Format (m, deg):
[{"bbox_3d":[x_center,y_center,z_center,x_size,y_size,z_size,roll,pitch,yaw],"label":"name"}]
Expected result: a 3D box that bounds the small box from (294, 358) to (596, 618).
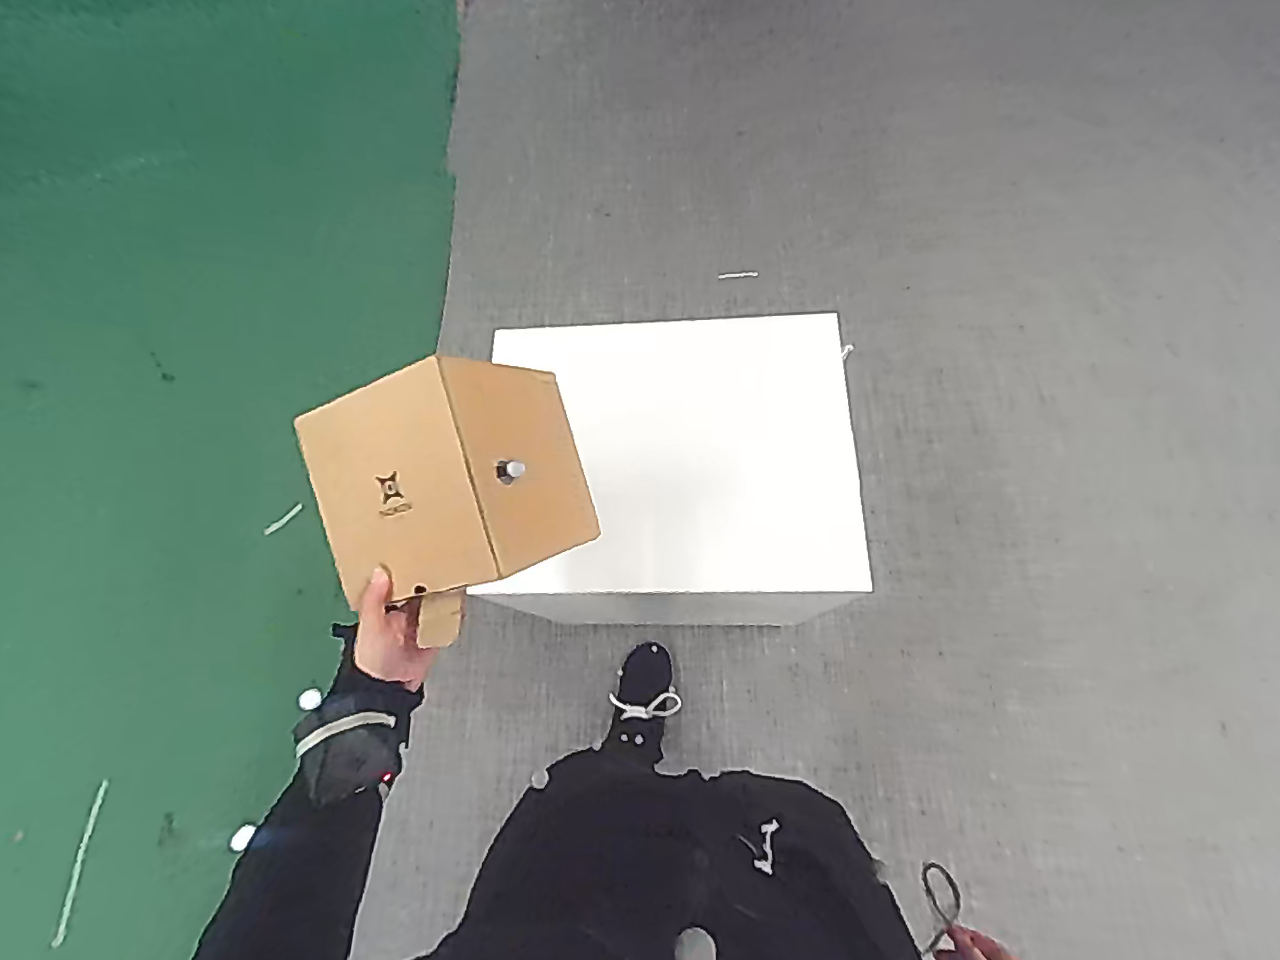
[{"bbox_3d":[-0.164,0.004,0.495,0.168,0.176,0.179,-16,92,23],"label":"small box"}]
